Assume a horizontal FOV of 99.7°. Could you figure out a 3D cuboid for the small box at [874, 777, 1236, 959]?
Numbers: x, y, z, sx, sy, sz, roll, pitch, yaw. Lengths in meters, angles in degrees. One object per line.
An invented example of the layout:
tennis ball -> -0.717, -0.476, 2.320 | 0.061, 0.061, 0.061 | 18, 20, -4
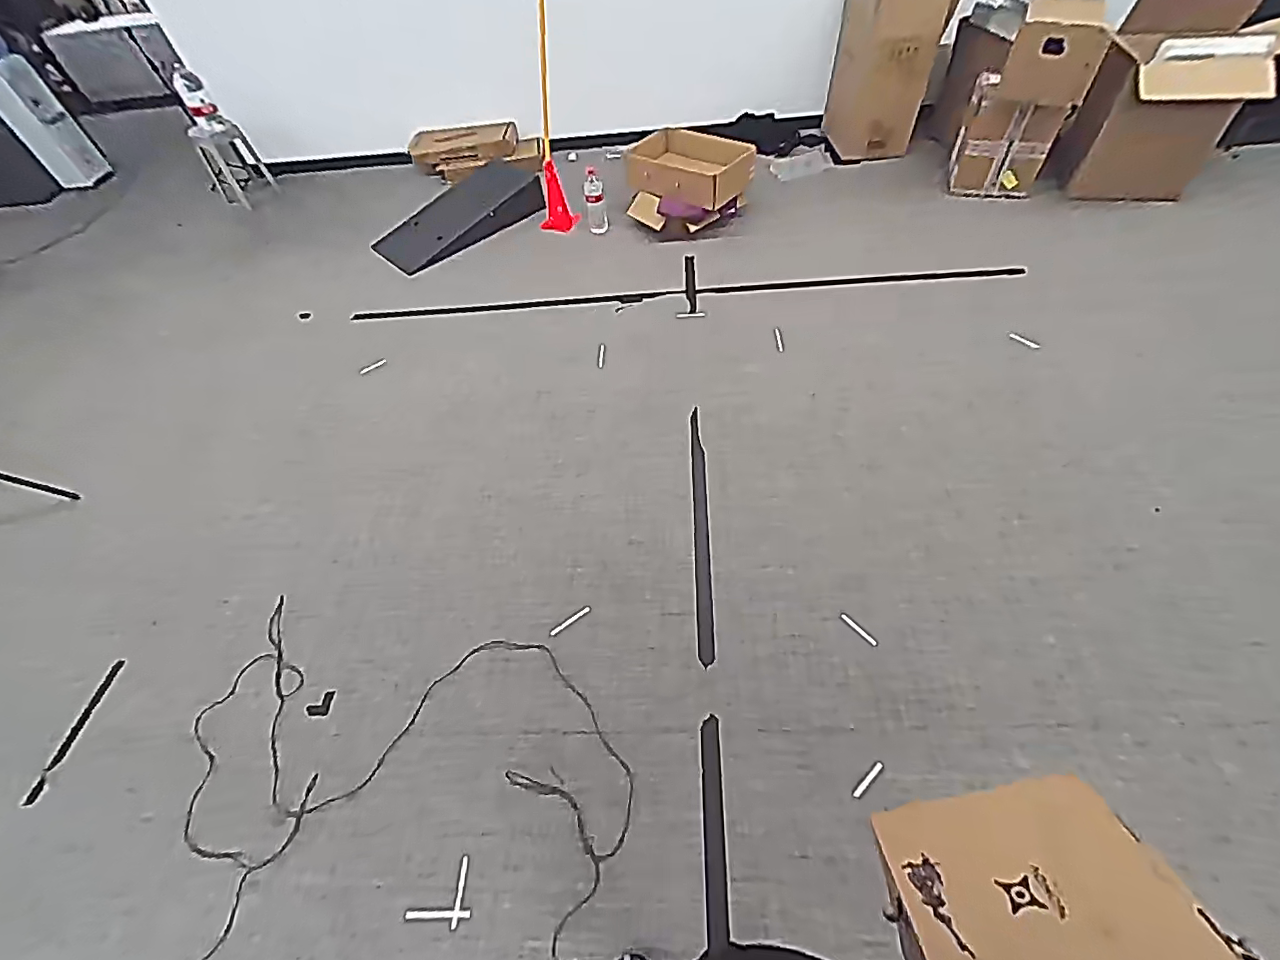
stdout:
small box -> 0.305, 0.370, 0.412 | 0.179, 0.176, 0.168 | -16, 16, 8
